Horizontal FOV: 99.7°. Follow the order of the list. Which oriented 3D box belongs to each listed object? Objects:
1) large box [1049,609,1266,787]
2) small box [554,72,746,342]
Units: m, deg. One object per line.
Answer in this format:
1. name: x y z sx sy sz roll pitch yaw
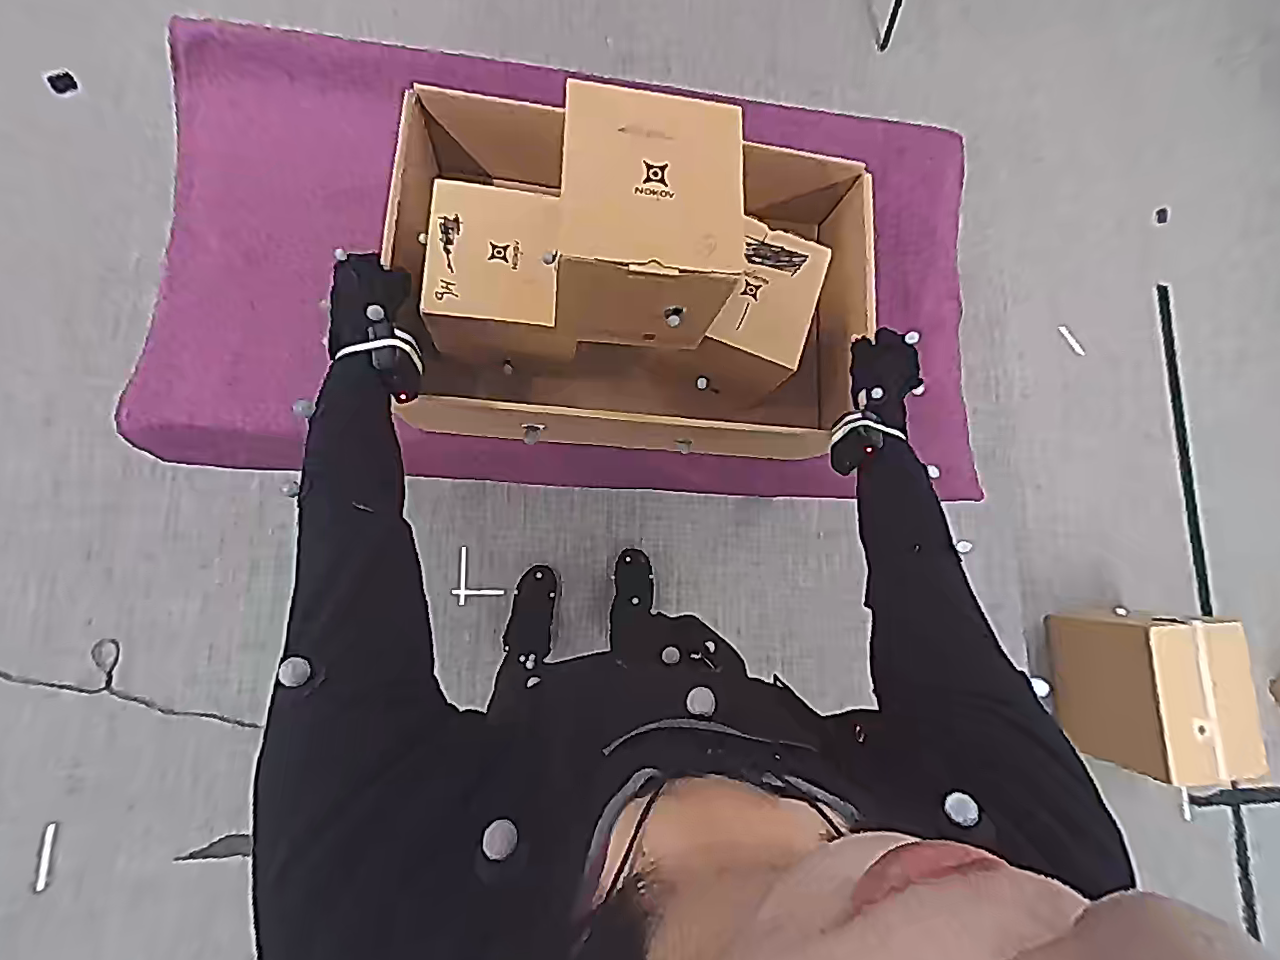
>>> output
1. large box: 1.473 0.602 1.570 0.320 0.320 0.408 -1 83 -9
2. small box: 0.000 -0.255 0.549 0.168 0.176 0.179 2 80 -10
